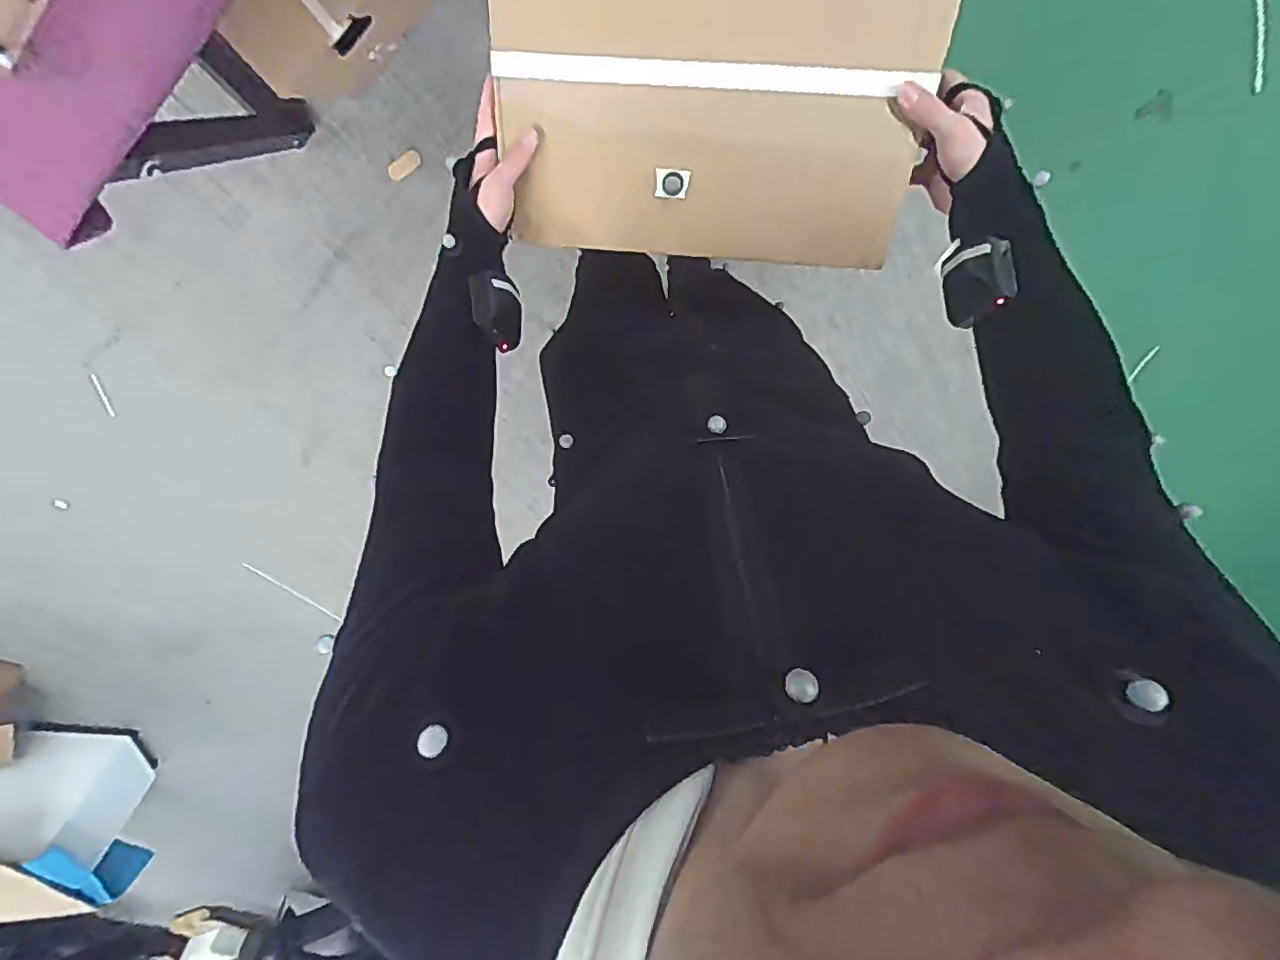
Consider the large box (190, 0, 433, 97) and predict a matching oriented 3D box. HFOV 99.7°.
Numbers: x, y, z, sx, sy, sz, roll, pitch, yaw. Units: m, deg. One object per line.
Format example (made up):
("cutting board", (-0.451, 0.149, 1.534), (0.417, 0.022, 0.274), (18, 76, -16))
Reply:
("large box", (-0.625, -0.956, 0.923), (0.320, 0.320, 0.408), (-32, 120, 19))
